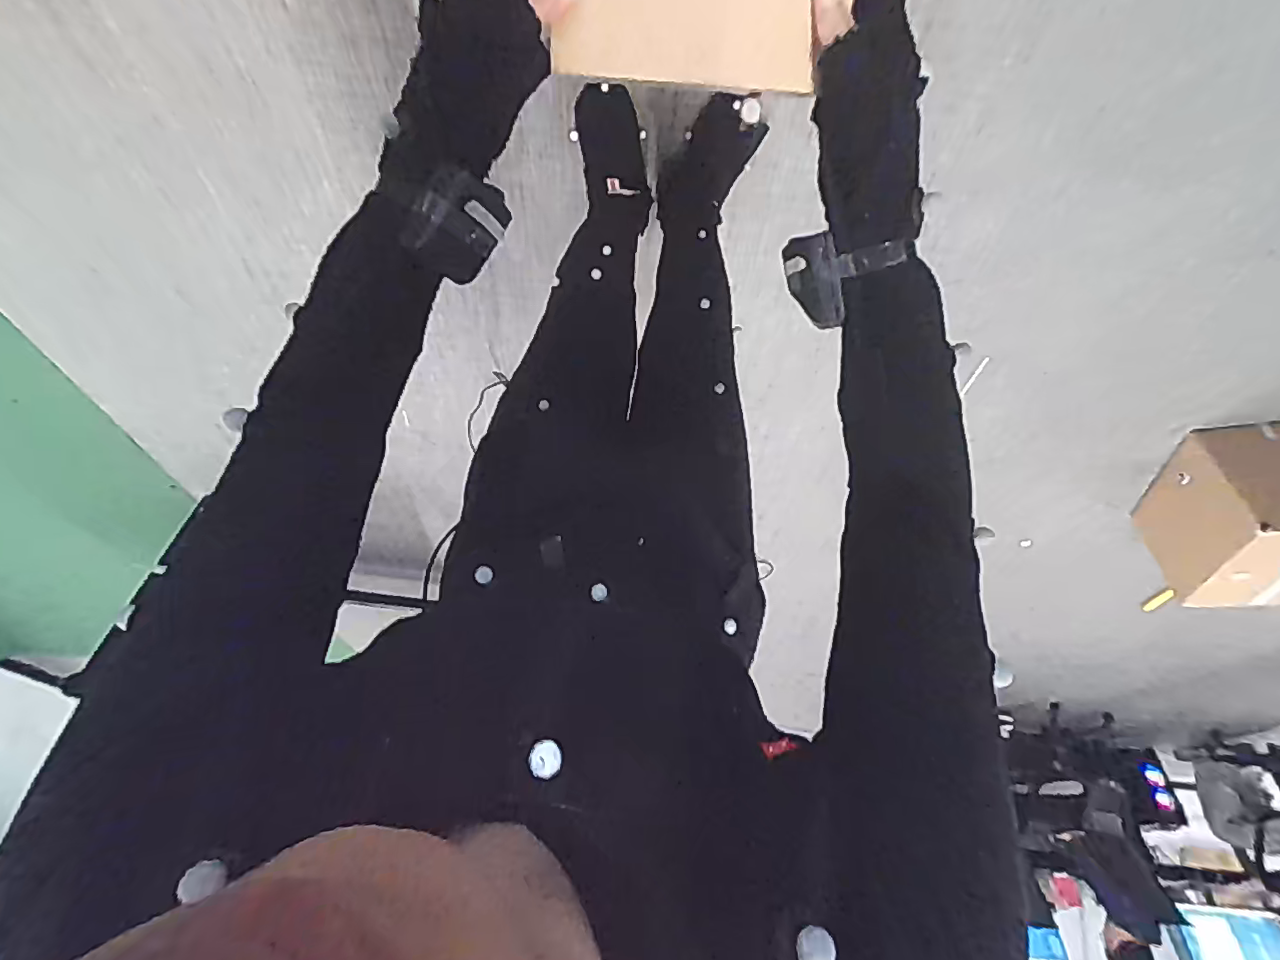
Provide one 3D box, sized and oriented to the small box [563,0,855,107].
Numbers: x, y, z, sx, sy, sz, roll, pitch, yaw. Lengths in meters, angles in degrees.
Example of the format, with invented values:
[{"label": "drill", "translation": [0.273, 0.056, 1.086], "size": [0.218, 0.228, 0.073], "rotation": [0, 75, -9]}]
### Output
[{"label": "small box", "translation": [0.046, -0.362, 0.369], "size": [0.179, 0.176, 0.168], "rotation": [5, 124, 0]}]
